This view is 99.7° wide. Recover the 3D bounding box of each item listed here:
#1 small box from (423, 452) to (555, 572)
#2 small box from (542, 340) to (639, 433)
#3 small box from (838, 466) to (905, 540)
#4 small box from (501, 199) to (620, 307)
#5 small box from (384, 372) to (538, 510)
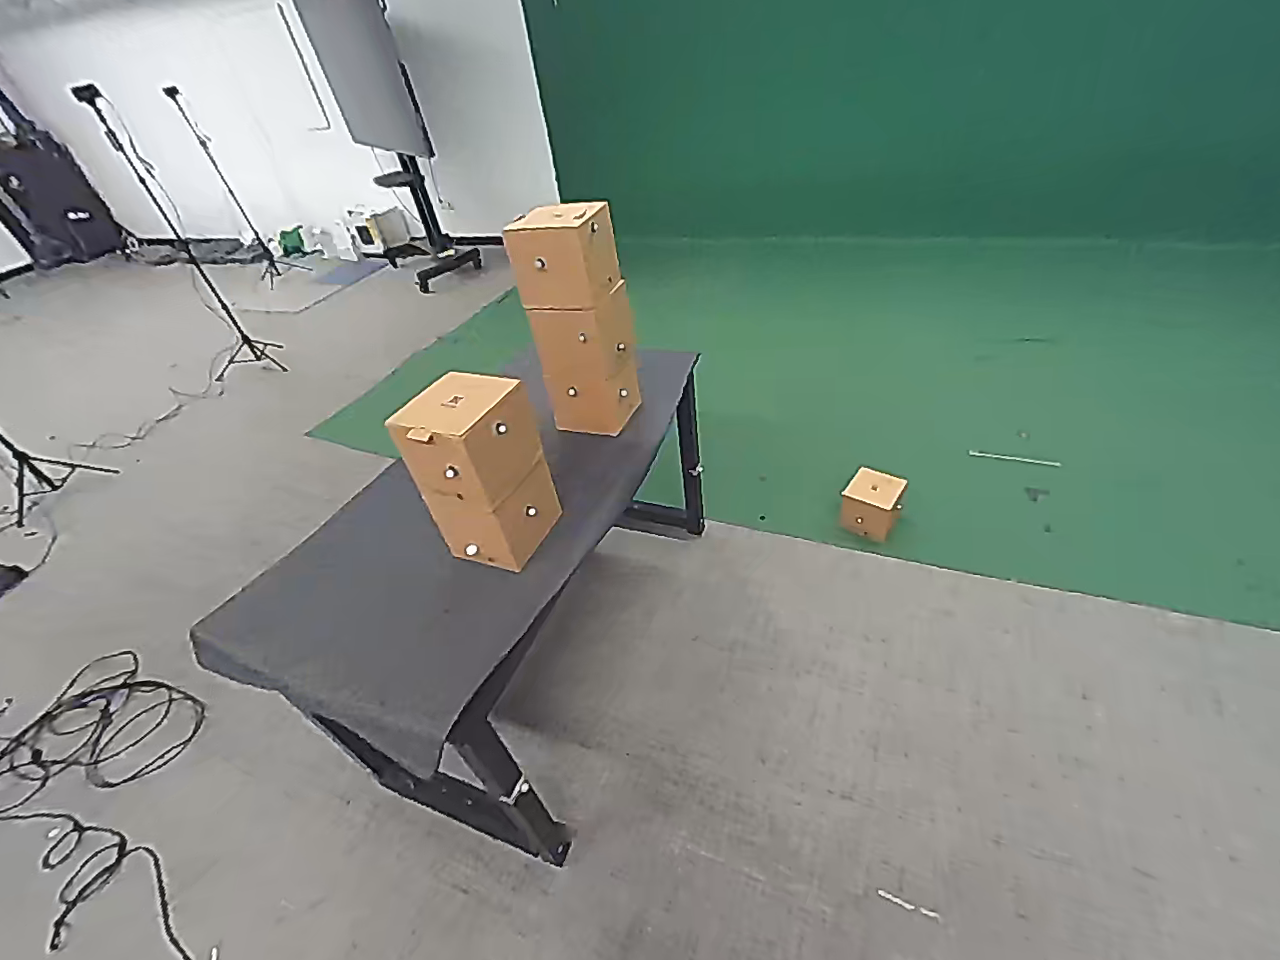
[{"bbox_3d":[-0.283,0.050,1.065,0.168,0.176,0.179,10,45,22],"label":"small box"},{"bbox_3d":[-0.115,-0.234,1.365,0.179,0.176,0.168,9,44,22],"label":"small box"},{"bbox_3d":[0.827,0.085,1.943,0.168,0.176,0.179,24,50,32],"label":"small box"},{"bbox_3d":[-0.160,-0.480,1.152,0.179,0.176,0.168,6,43,20],"label":"small box"},{"bbox_3d":[-0.303,-0.070,0.958,0.168,0.176,0.179,12,44,22],"label":"small box"}]
